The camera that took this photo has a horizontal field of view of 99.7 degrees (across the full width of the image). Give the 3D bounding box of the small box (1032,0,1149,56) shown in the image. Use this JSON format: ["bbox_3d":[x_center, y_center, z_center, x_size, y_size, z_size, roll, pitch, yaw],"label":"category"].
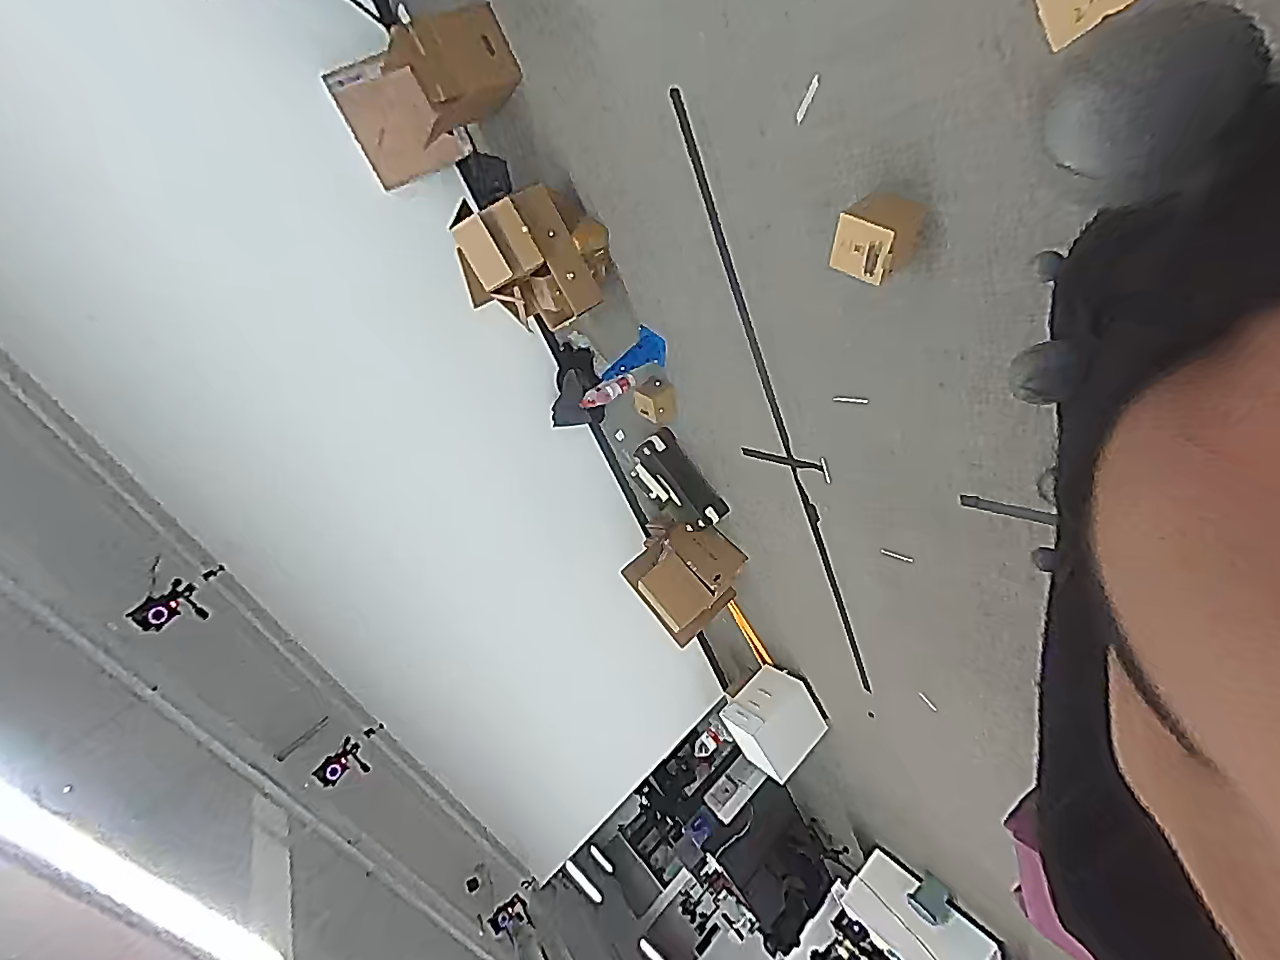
[{"bbox_3d":[0.829,-0.914,0.959,0.179,0.176,0.168,58,157,-13],"label":"small box"}]
